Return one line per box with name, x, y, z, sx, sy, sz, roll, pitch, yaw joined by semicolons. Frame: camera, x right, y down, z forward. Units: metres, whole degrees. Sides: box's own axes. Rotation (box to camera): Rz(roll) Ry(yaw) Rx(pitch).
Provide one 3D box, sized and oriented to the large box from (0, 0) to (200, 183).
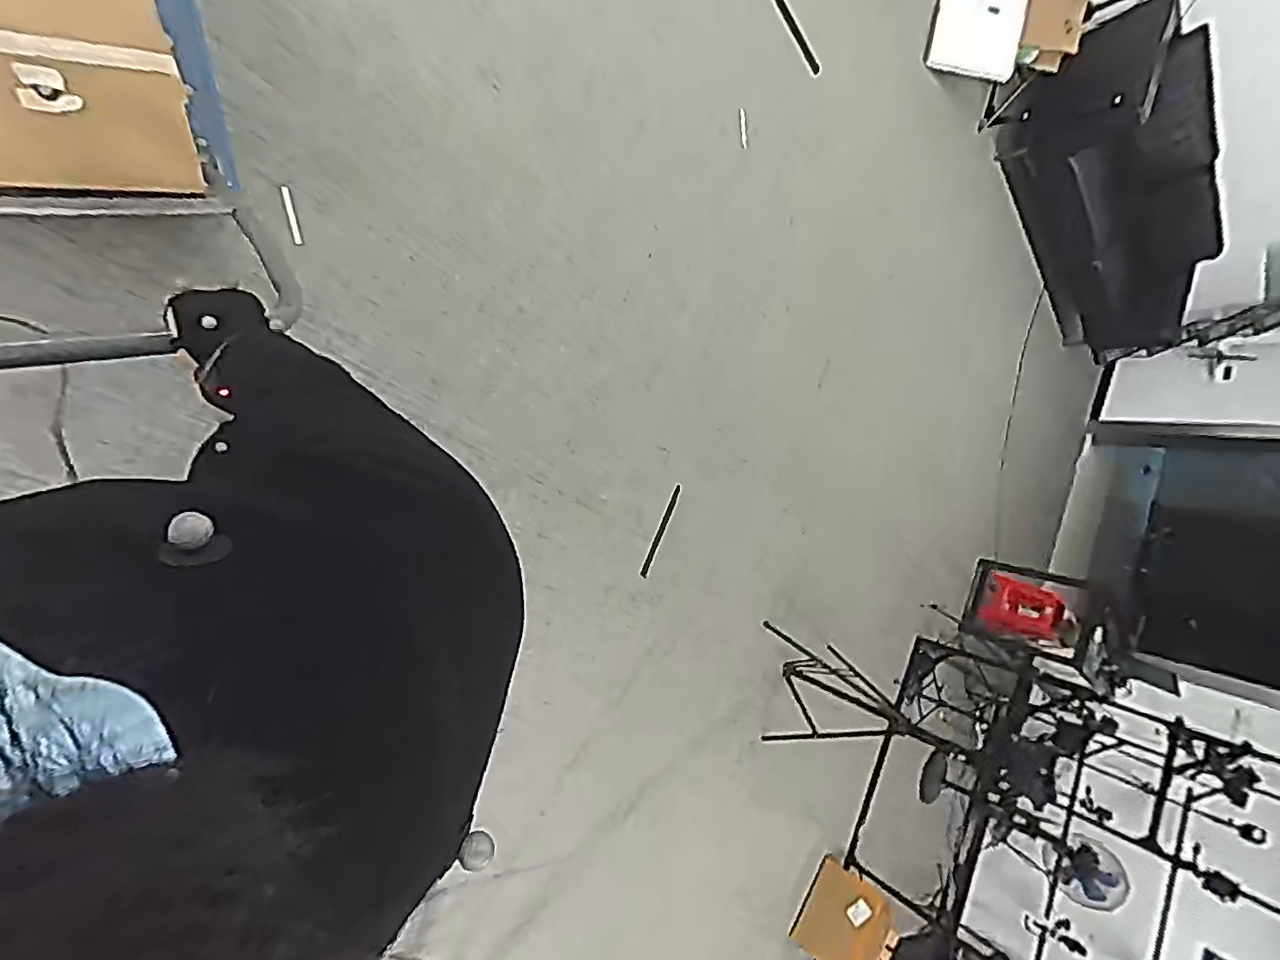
large box;-0.889;-0.588;0.703;0.408;0.320;0.320;-20;133;-36
